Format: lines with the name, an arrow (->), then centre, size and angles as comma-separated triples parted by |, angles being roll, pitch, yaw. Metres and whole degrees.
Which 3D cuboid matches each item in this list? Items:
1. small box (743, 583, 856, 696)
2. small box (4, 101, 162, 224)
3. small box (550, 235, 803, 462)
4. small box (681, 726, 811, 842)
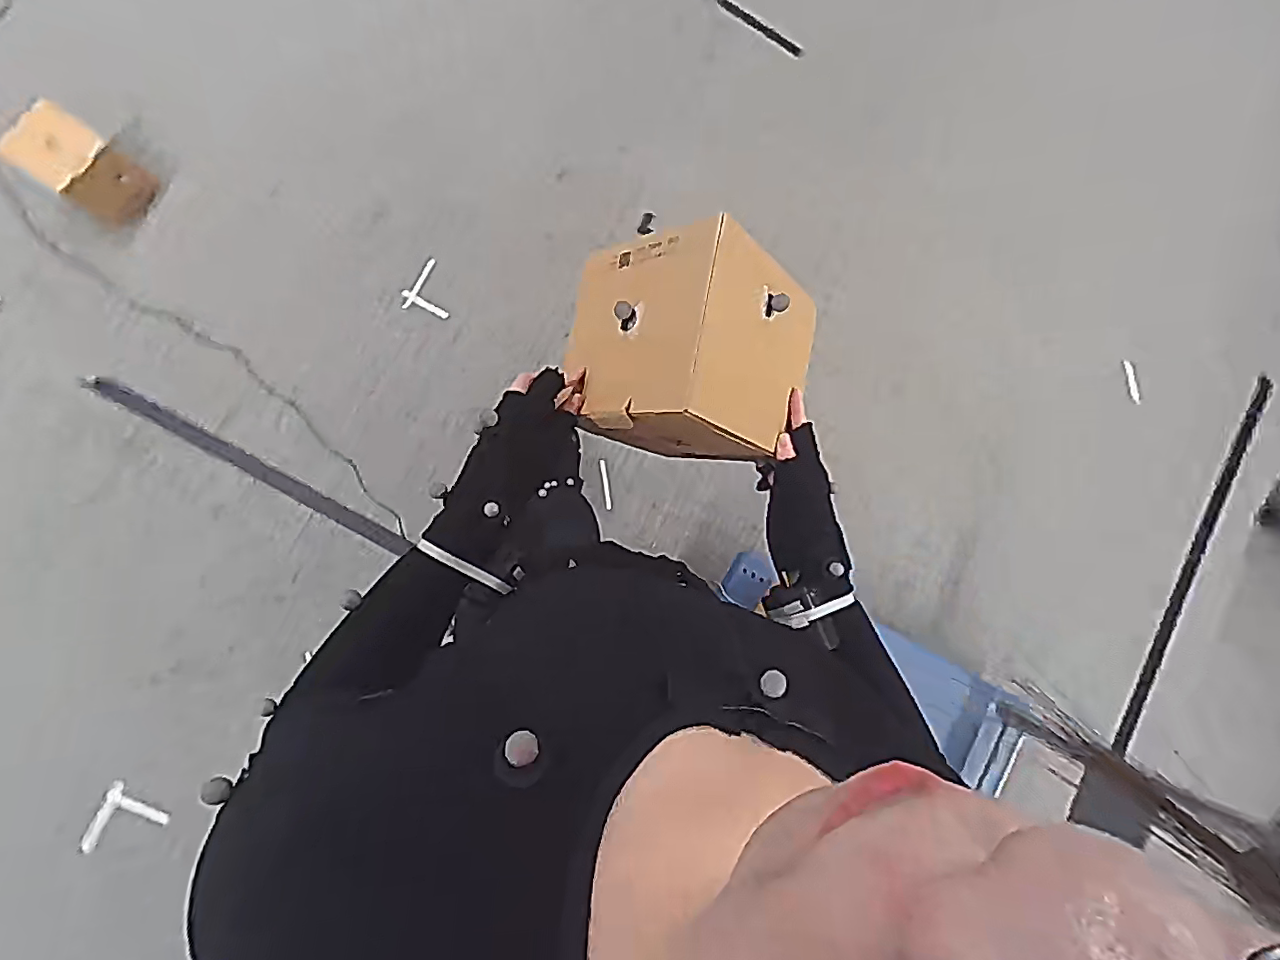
small box -> 0.361, 0.364, 1.266 | 0.168, 0.176, 0.179 | 34, 84, -4
small box -> -1.364, -0.772, 1.342 | 0.179, 0.176, 0.168 | 36, 83, -2
small box -> 0.041, -0.119, 0.532 | 0.179, 0.168, 0.176 | 16, 82, -46
small box -> 0.199, 0.628, 1.074 | 0.168, 0.176, 0.179 | 35, 85, -4
